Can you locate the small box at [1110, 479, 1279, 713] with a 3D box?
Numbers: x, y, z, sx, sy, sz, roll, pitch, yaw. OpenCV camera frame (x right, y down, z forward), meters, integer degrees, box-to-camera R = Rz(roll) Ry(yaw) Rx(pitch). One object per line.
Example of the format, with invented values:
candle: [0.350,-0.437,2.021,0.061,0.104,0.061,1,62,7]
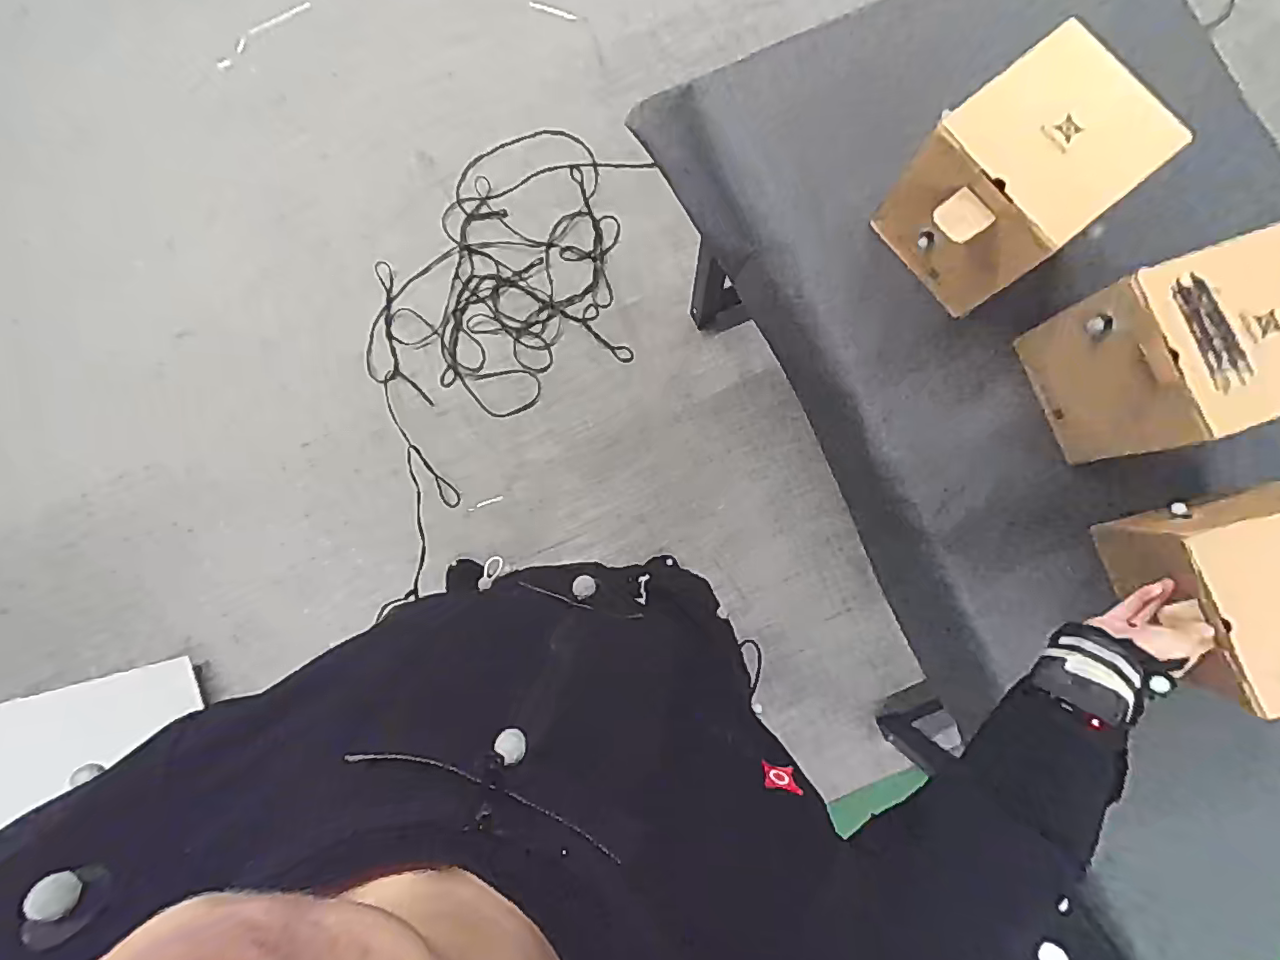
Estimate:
small box: [0.609,0.098,0.523,0.179,0.176,0.168,-20,83,14]

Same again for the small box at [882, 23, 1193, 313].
small box: [0.408,-0.320,0.591,0.179,0.176,0.168,-39,85,-2]
